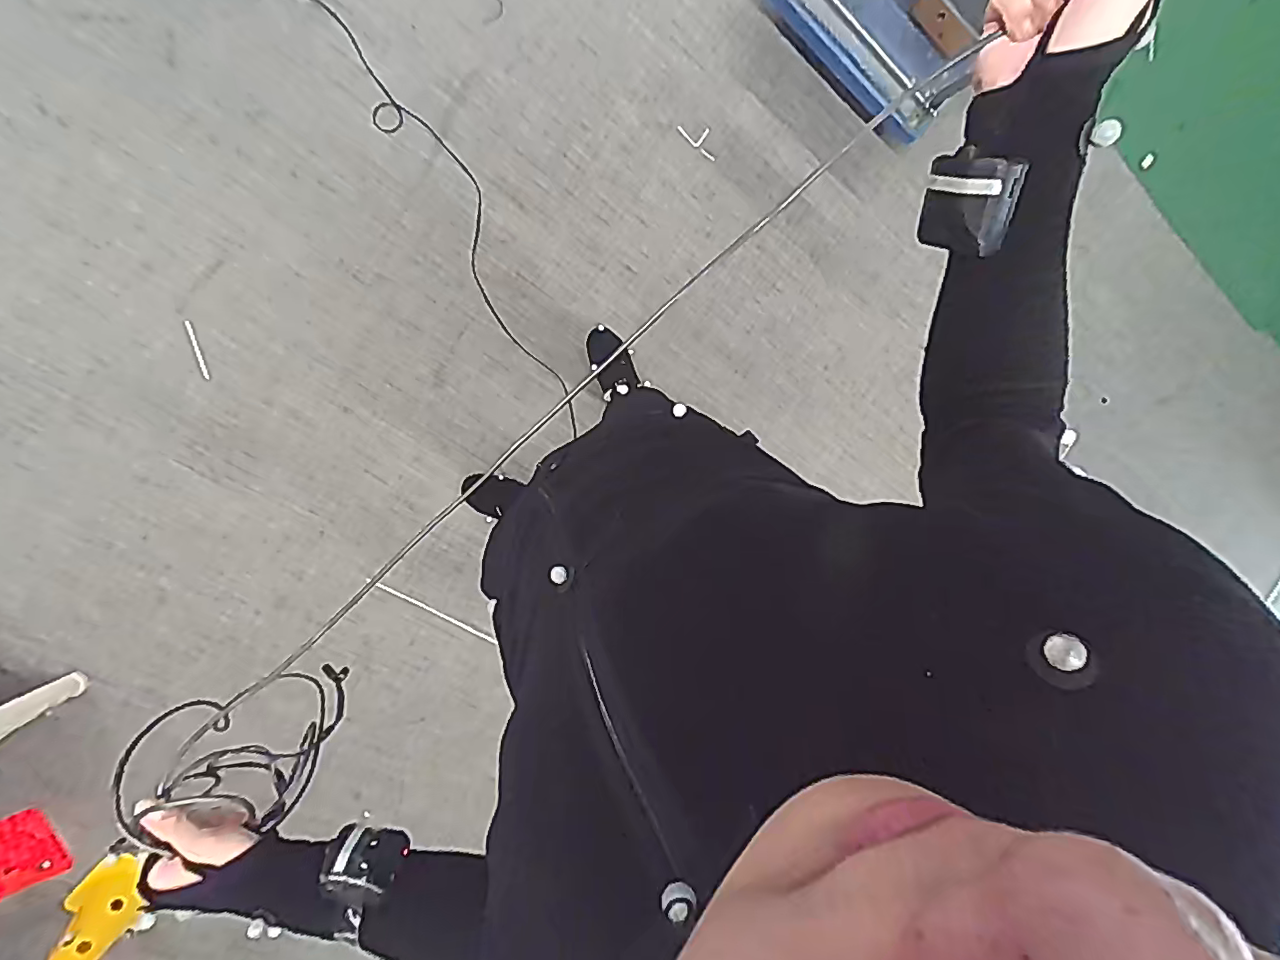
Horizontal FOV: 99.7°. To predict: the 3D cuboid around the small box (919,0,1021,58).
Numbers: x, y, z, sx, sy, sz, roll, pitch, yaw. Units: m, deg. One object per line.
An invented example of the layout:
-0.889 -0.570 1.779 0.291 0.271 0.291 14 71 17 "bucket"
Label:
0.855 -1.241 1.368 0.168 0.176 0.179 35 91 -16 "small box"
